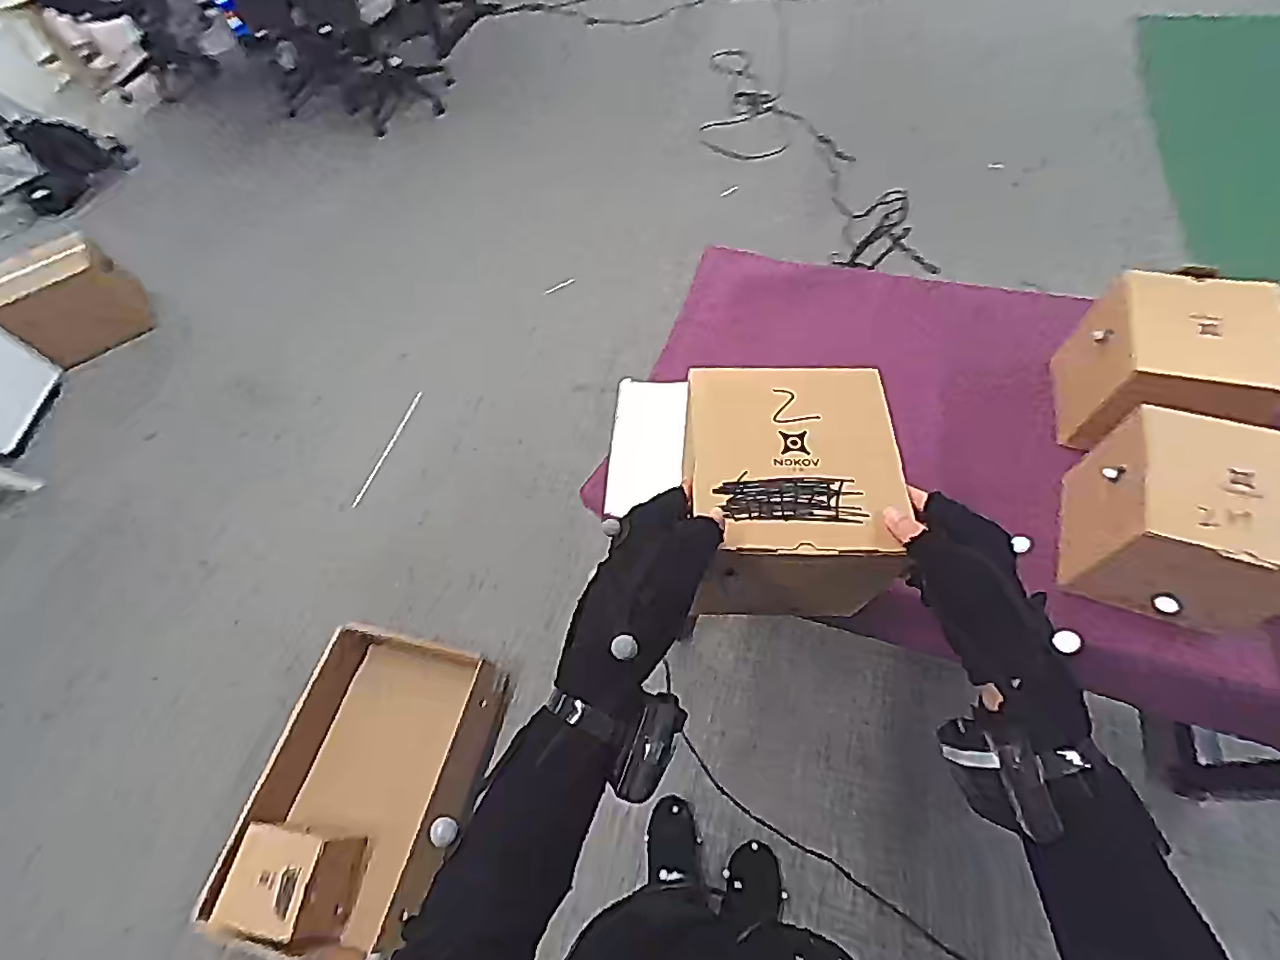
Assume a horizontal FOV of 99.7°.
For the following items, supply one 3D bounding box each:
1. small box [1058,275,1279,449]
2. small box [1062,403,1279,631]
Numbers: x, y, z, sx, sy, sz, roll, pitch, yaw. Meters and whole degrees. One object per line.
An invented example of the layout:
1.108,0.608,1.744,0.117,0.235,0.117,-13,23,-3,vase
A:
0.697,-0.142,0.724,0.168,0.176,0.179,12,62,15,small box
0.621,0.046,0.618,0.168,0.176,0.179,17,63,17,small box
